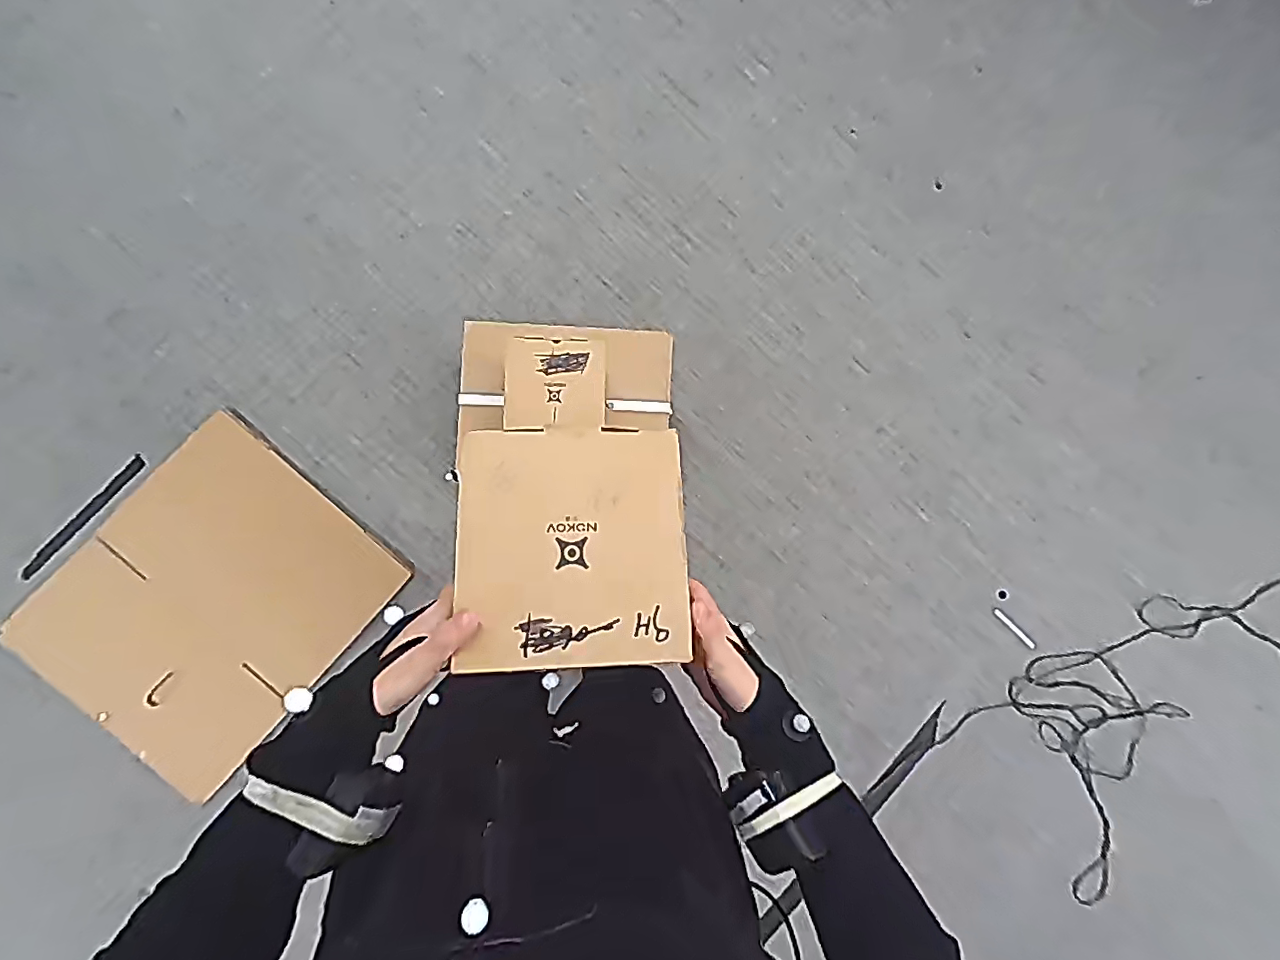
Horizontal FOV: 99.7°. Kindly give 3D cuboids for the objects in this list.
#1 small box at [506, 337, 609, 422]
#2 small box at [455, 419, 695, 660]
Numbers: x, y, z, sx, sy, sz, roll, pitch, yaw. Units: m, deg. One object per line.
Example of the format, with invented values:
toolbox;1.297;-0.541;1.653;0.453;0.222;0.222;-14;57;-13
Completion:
small box;-0.141;-0.140;0.959;0.168;0.176;0.179;1;87;-4
small box;-0.054;0.060;0.468;0.168;0.176;0.179;-2;74;-5
